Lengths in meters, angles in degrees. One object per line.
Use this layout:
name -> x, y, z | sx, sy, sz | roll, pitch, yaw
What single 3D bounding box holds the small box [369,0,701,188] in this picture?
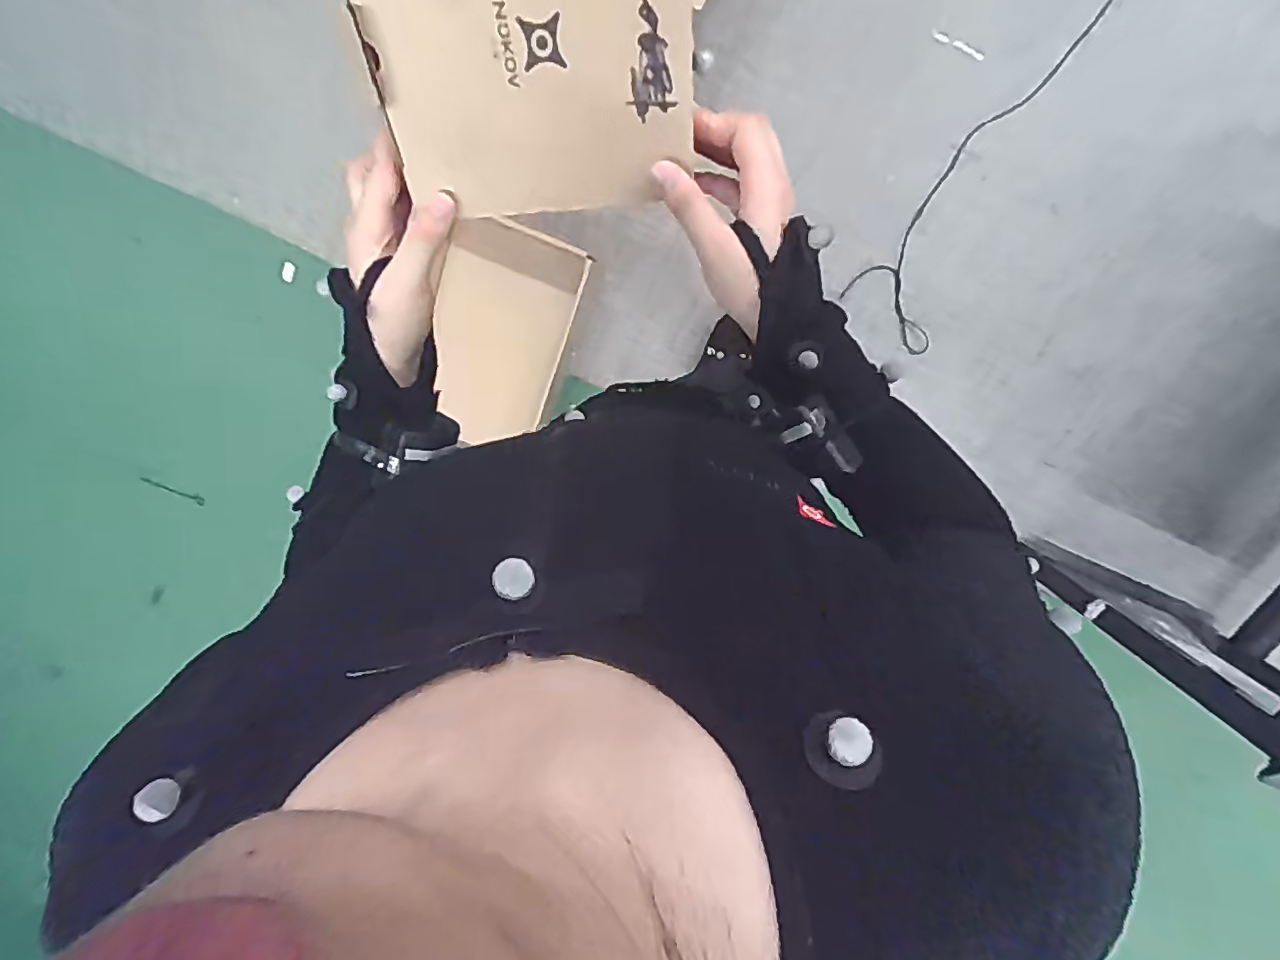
small box -> -0.053, -0.298, 0.341 | 0.179, 0.176, 0.168 | -3, 131, 4
